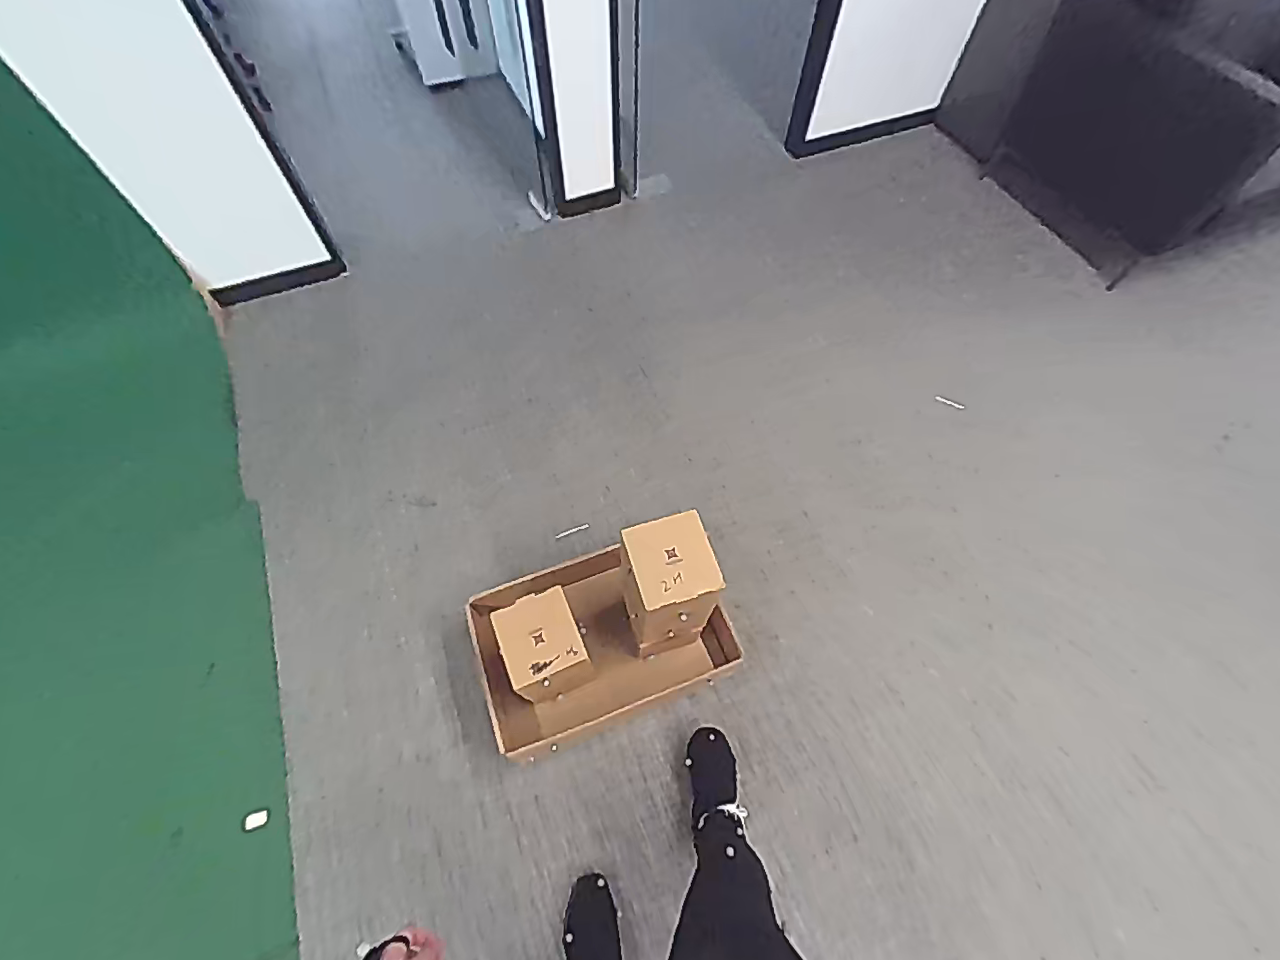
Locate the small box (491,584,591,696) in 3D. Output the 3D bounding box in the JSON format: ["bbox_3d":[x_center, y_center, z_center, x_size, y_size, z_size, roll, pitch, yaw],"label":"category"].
[{"bbox_3d":[-0.220,0.366,1.221,0.168,0.176,0.179,-21,64,-11],"label":"small box"}]

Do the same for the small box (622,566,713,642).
[{"bbox_3d":[0.056,0.265,1.284,0.168,0.176,0.179,-15,65,-10],"label":"small box"}]

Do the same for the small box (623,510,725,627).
[{"bbox_3d":[0.061,0.190,1.136,0.168,0.176,0.179,-15,65,-9],"label":"small box"}]
